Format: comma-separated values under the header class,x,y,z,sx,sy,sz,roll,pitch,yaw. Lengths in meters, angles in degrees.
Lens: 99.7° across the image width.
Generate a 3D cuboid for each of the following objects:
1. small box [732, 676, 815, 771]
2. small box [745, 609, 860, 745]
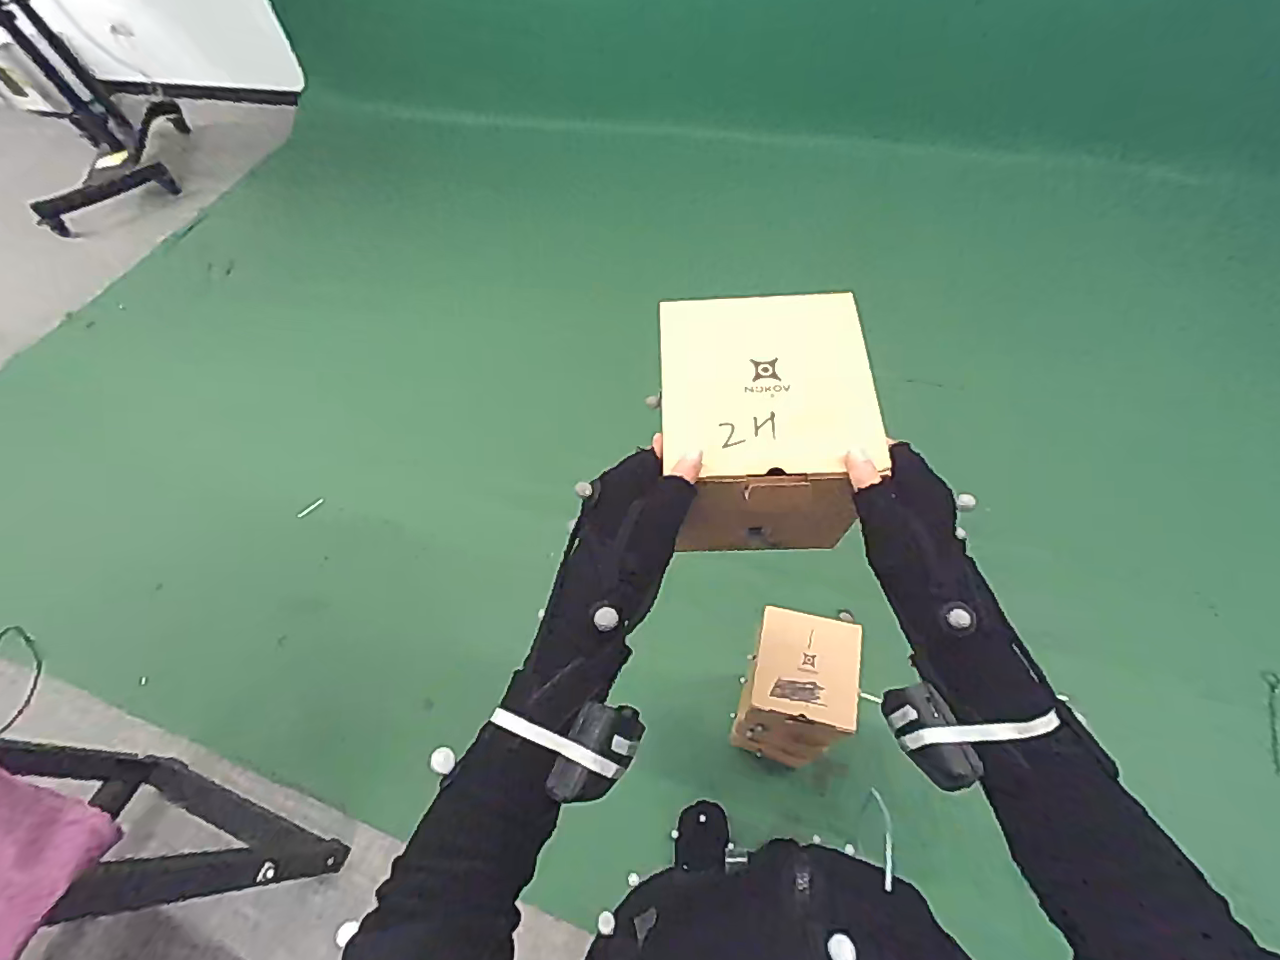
class,x,y,z,sx,sy,sz,roll,pitch,yaw
small box,0.312,0.544,1.239,0.168,0.176,0.179,15,61,15
small box,0.284,0.358,0.969,0.168,0.176,0.179,10,58,12
